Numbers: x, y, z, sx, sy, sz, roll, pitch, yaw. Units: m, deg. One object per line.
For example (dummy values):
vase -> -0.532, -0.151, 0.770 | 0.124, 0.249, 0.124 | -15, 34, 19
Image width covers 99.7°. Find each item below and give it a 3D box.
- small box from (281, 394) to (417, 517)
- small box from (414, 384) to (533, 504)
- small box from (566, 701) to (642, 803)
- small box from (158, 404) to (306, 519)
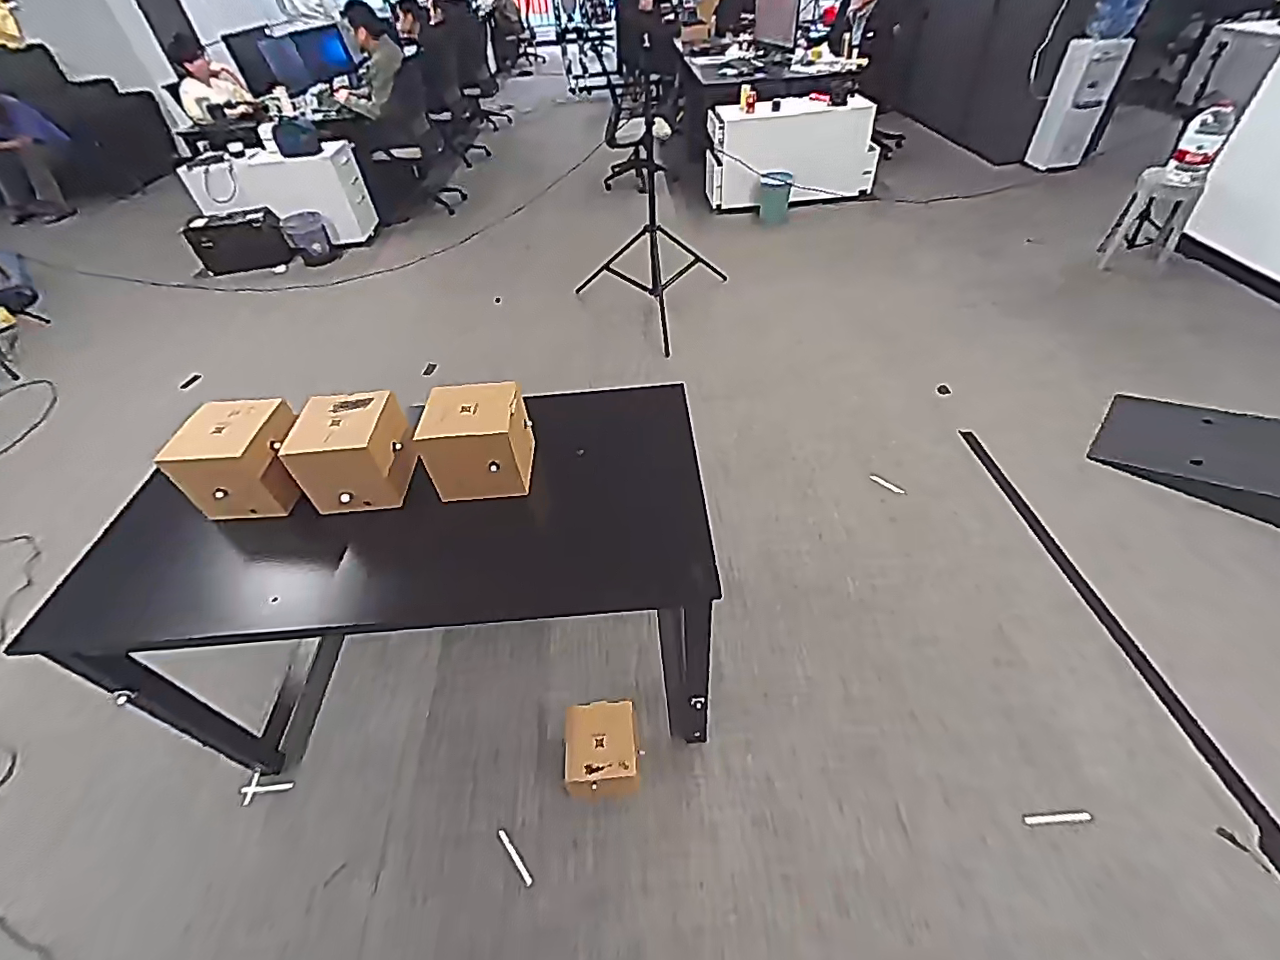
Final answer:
small box -> -0.569, -0.049, 1.088 | 0.168, 0.176, 0.179 | -6, 46, -1
small box -> -0.321, -0.070, 1.089 | 0.179, 0.176, 0.168 | -6, 44, 1
small box -> -0.087, 0.678, 1.346 | 0.168, 0.176, 0.179 | -6, 44, 0
small box -> -0.793, -0.033, 1.095 | 0.168, 0.176, 0.179 | -2, 45, 2
